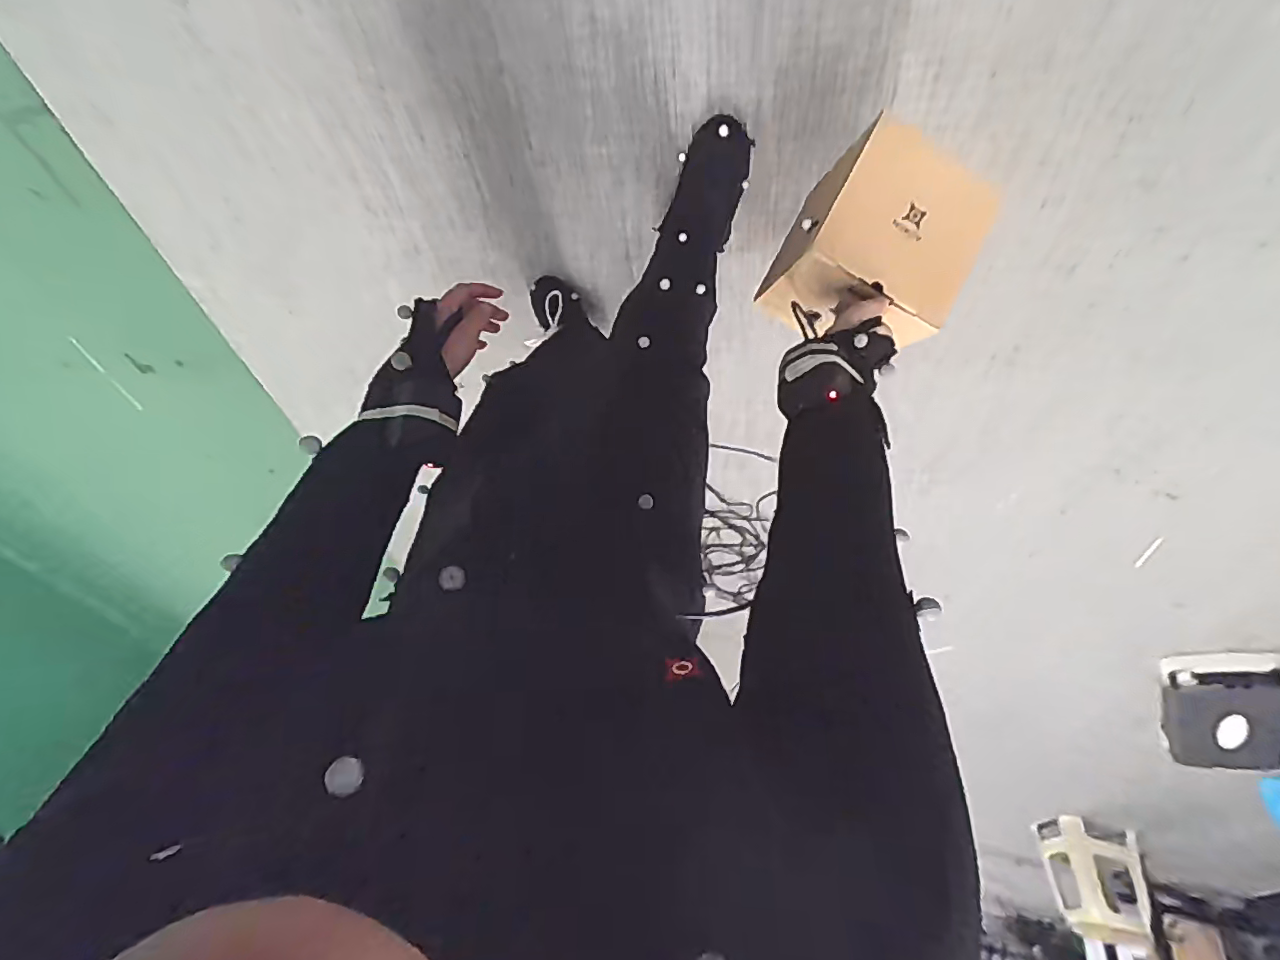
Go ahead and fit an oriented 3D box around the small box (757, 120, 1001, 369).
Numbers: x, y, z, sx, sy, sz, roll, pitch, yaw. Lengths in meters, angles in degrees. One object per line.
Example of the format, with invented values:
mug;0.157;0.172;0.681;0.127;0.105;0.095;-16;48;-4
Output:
small box;0.264;-0.257;0.637;0.168;0.179;0.176;29;175;-8
